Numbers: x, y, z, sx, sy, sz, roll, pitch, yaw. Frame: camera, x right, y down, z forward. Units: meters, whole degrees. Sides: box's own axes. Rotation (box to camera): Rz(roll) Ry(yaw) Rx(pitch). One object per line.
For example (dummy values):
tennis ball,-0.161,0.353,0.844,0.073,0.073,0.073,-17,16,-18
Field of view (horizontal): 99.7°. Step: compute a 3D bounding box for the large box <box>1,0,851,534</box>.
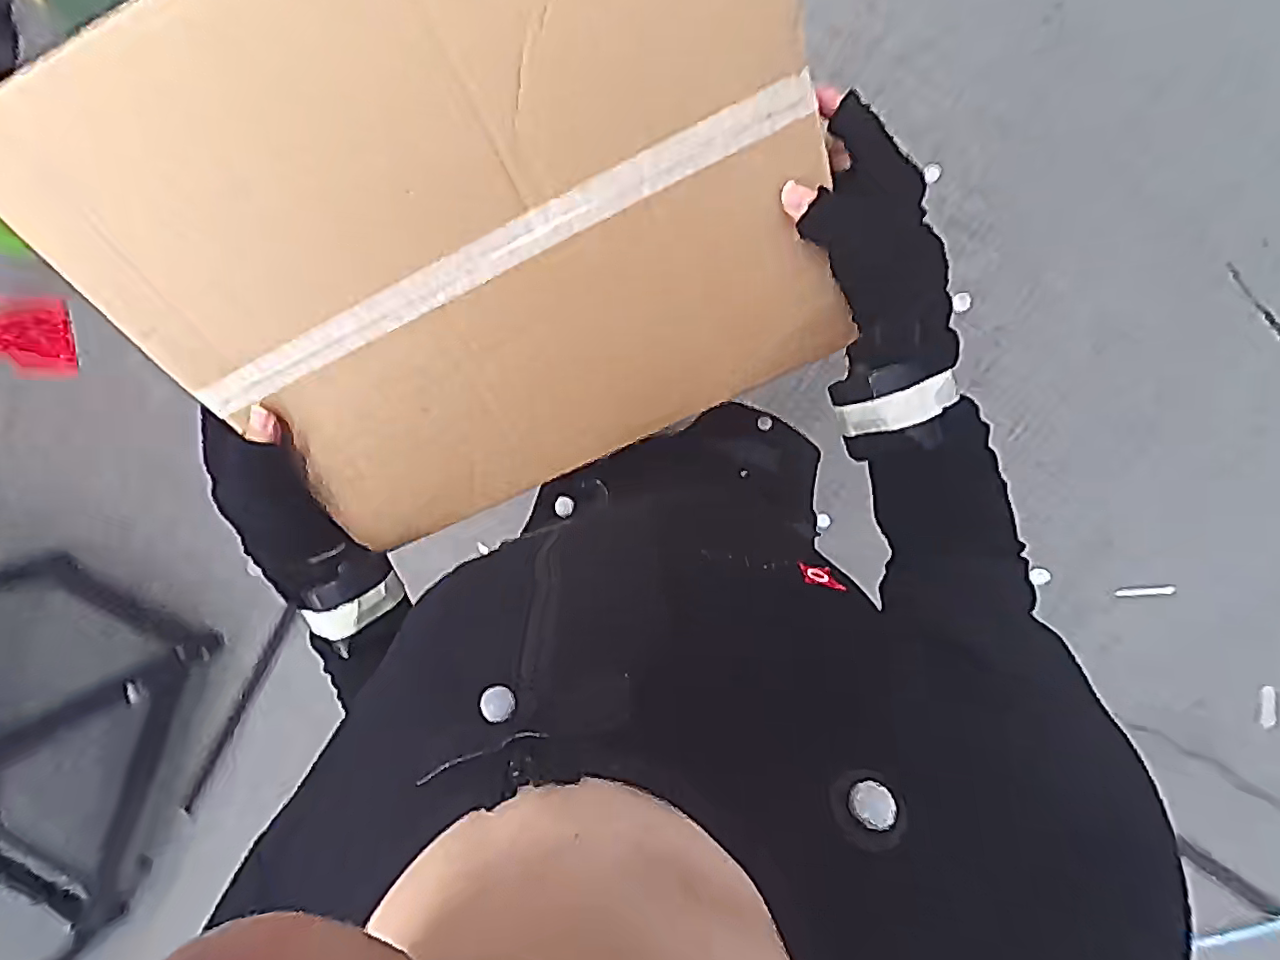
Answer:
large box,-0.105,-0.225,0.448,0.408,0.320,0.320,-22,126,8
